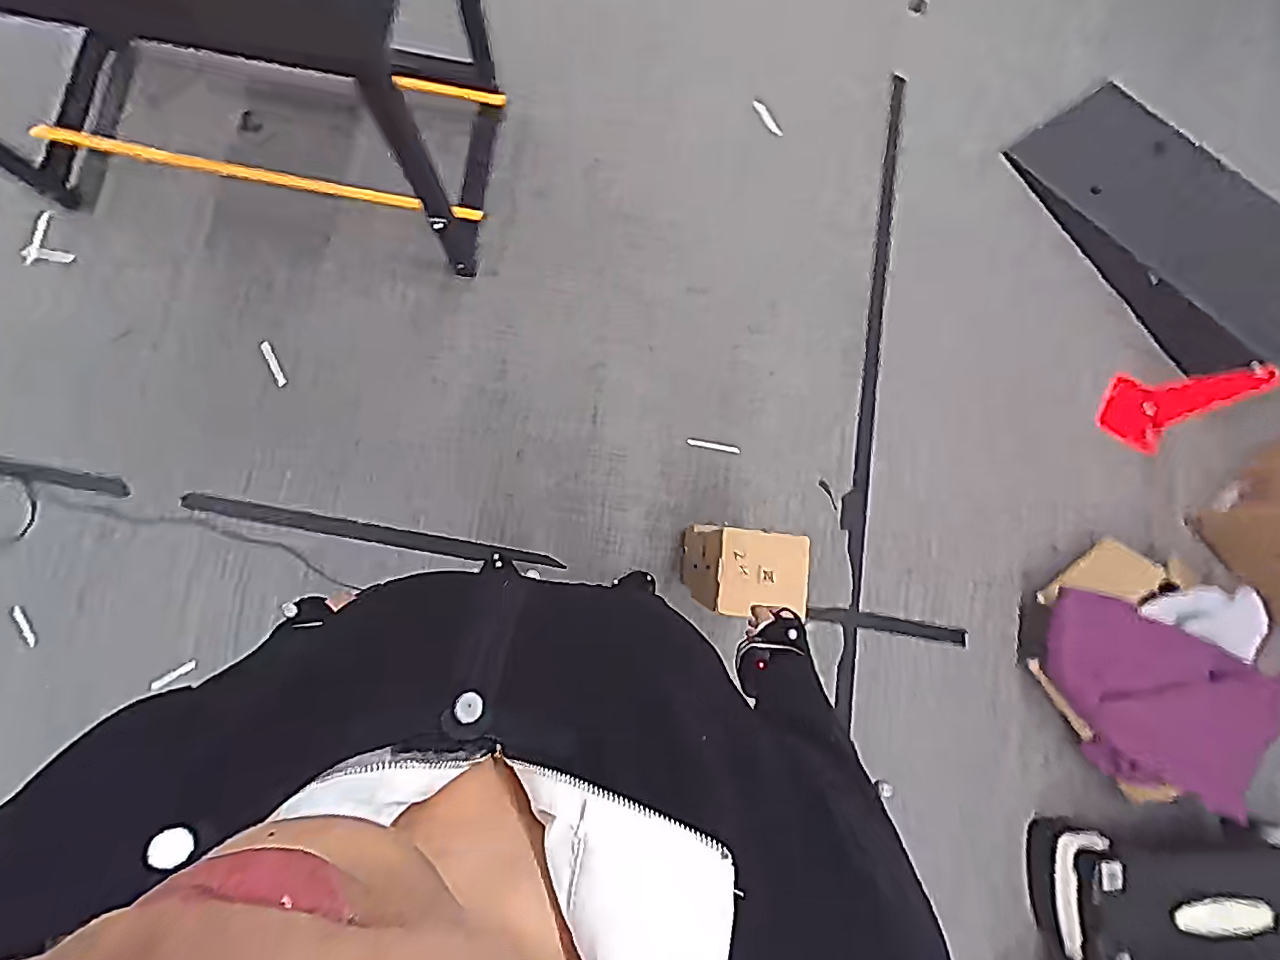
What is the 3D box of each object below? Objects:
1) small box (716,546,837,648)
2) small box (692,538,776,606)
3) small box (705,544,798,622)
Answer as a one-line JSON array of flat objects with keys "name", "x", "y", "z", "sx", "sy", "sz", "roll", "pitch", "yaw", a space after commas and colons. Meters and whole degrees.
[{"name": "small box", "x": 0.257, "y": 0.219, "z": 1.042, "sx": 0.179, "sy": 0.176, "sz": 0.168, "roll": 7, "pitch": 81, "yaw": -3}, {"name": "small box", "x": 0.235, "y": 0.234, "z": 1.372, "sx": 0.179, "sy": 0.176, "sz": 0.168, "roll": 3, "pitch": 82, "yaw": -2}, {"name": "small box", "x": 0.242, "y": 0.231, "z": 1.207, "sx": 0.179, "sy": 0.176, "sz": 0.168, "roll": 2, "pitch": 82, "yaw": -3}]
